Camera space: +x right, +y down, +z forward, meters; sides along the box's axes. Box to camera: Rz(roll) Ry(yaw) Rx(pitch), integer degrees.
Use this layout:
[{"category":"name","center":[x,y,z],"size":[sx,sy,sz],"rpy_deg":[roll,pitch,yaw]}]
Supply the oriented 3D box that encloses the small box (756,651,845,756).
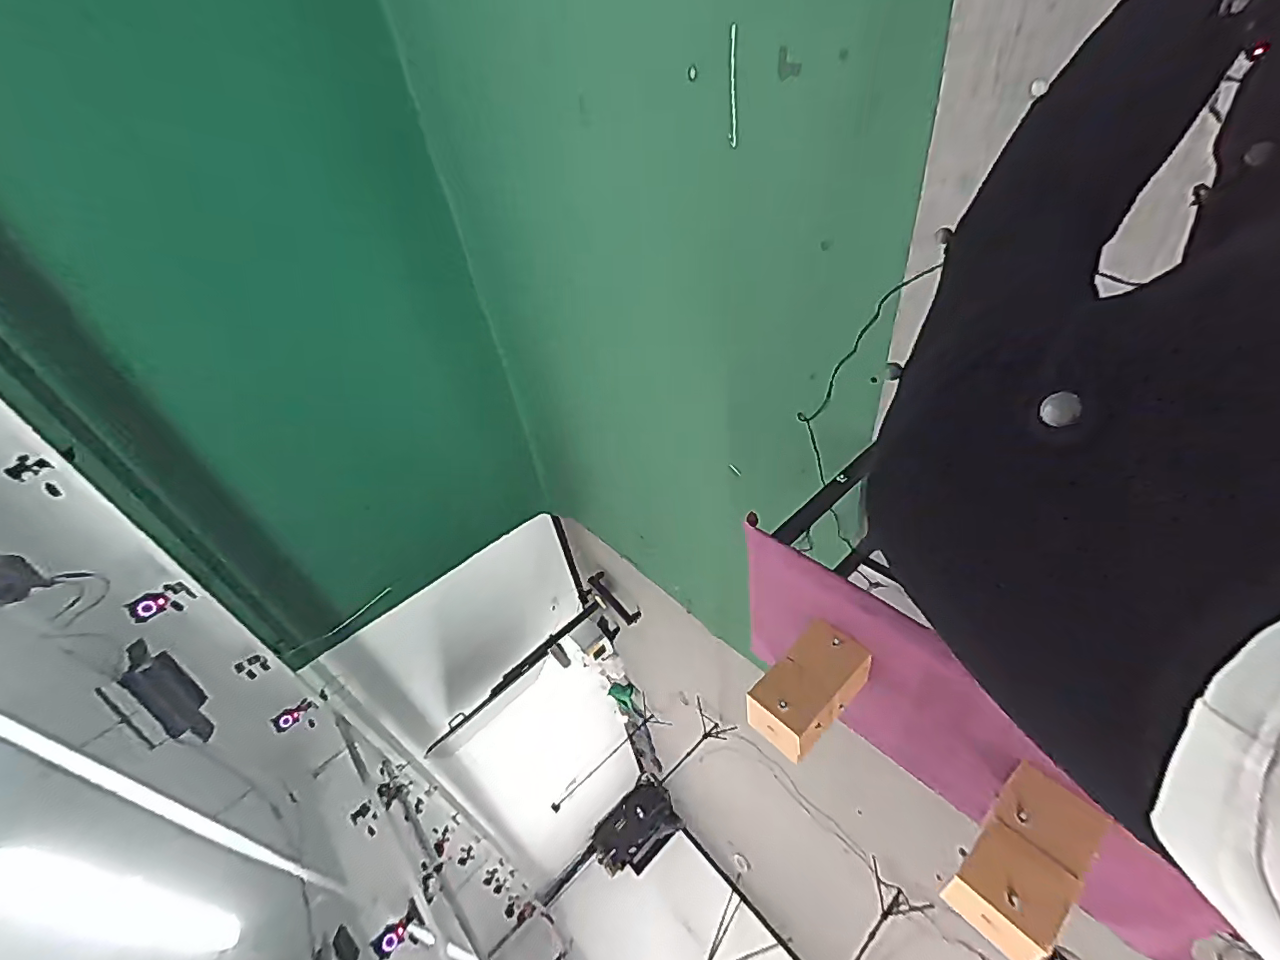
[{"category":"small box","center":[0.444,0.612,1.497],"size":[0.179,0.176,0.168],"rpy_deg":[32,146,39]}]

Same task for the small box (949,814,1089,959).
[{"category":"small box","center":[0.808,0.859,1.161],"size":[0.179,0.176,0.168],"rpy_deg":[32,146,39]}]

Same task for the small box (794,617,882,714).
[{"category":"small box","center":[0.566,0.526,1.566],"size":[0.179,0.176,0.168],"rpy_deg":[32,147,41]}]

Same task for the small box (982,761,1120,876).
[{"category":"small box","center":[0.930,0.778,1.231],"size":[0.179,0.176,0.168],"rpy_deg":[33,148,39]}]
